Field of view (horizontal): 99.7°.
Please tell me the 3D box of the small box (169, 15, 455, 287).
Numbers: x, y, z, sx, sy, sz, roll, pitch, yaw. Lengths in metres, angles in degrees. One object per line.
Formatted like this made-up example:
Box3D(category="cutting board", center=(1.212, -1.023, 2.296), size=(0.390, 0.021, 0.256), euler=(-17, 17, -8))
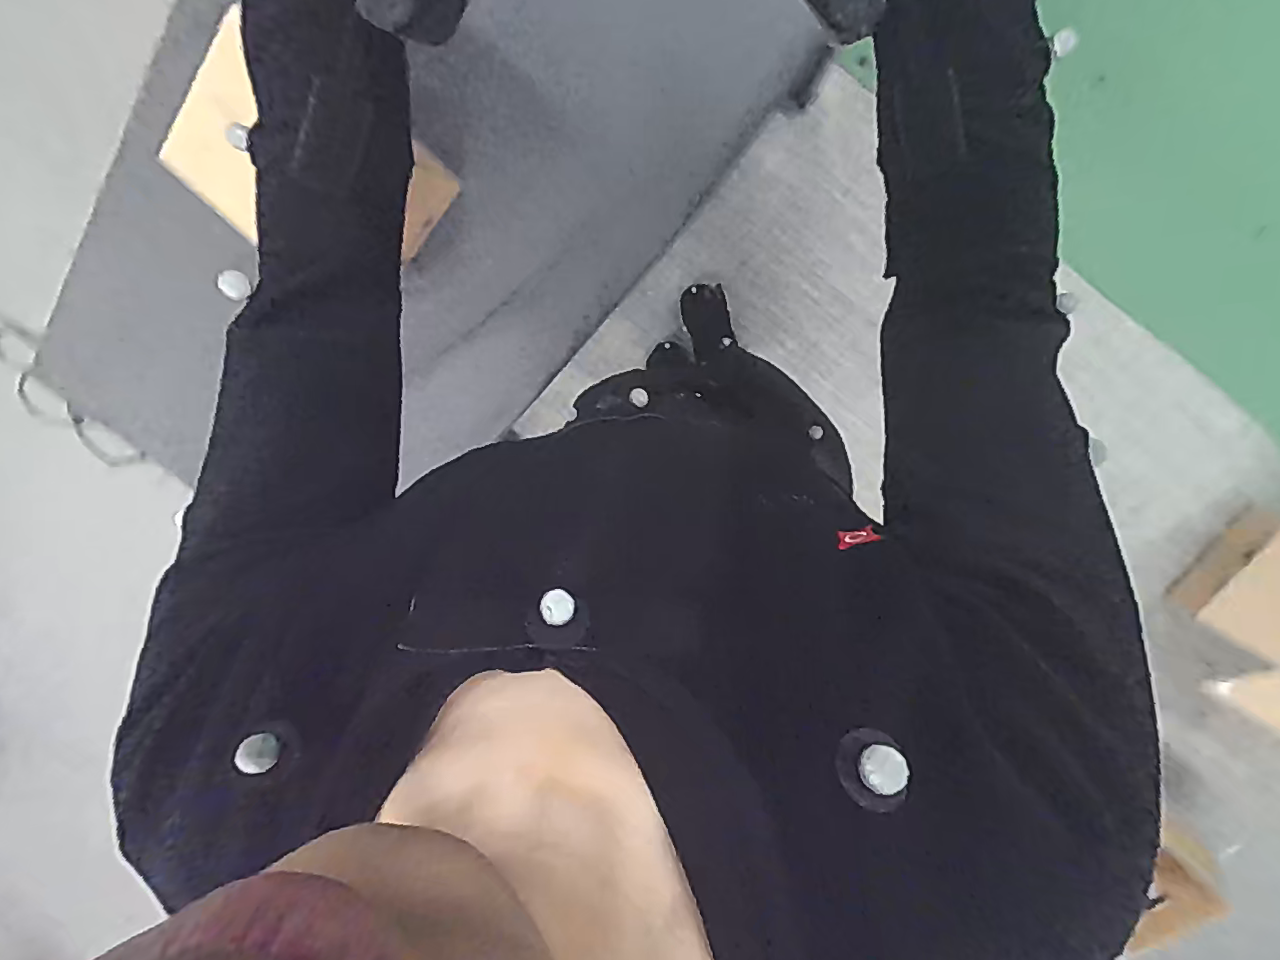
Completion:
Box3D(category="small box", center=(-0.342, -0.335, 0.598), size=(0.179, 0.176, 0.168), euler=(43, 107, -5))
